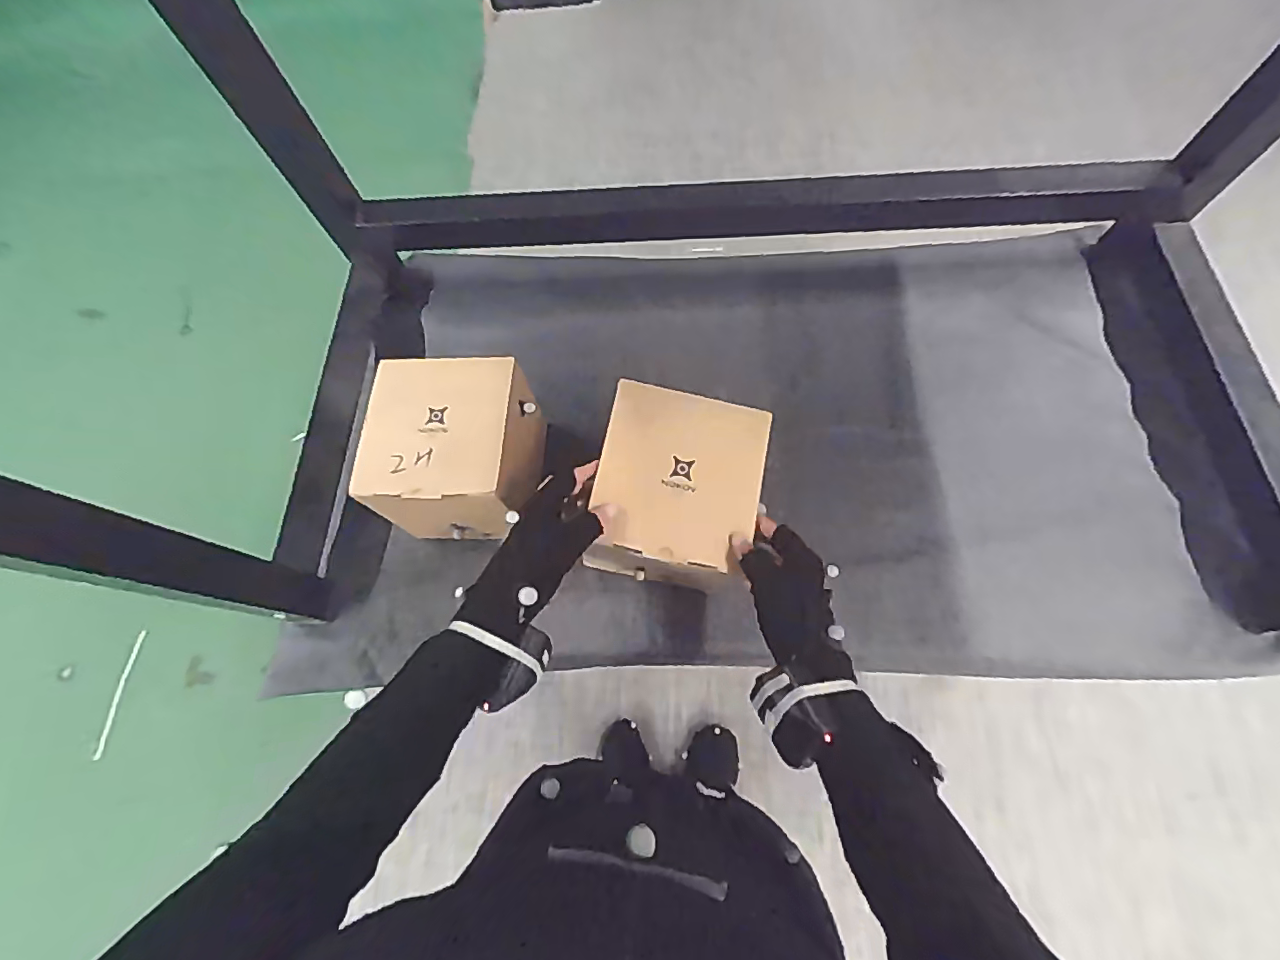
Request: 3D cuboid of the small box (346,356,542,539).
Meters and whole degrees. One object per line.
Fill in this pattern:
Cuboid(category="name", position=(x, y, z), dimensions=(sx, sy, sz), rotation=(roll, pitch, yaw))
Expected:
Cuboid(category="small box", position=(-0.226, -0.035, 0.679), dimensions=(0.168, 0.176, 0.179), rotation=(0, 67, 5))
